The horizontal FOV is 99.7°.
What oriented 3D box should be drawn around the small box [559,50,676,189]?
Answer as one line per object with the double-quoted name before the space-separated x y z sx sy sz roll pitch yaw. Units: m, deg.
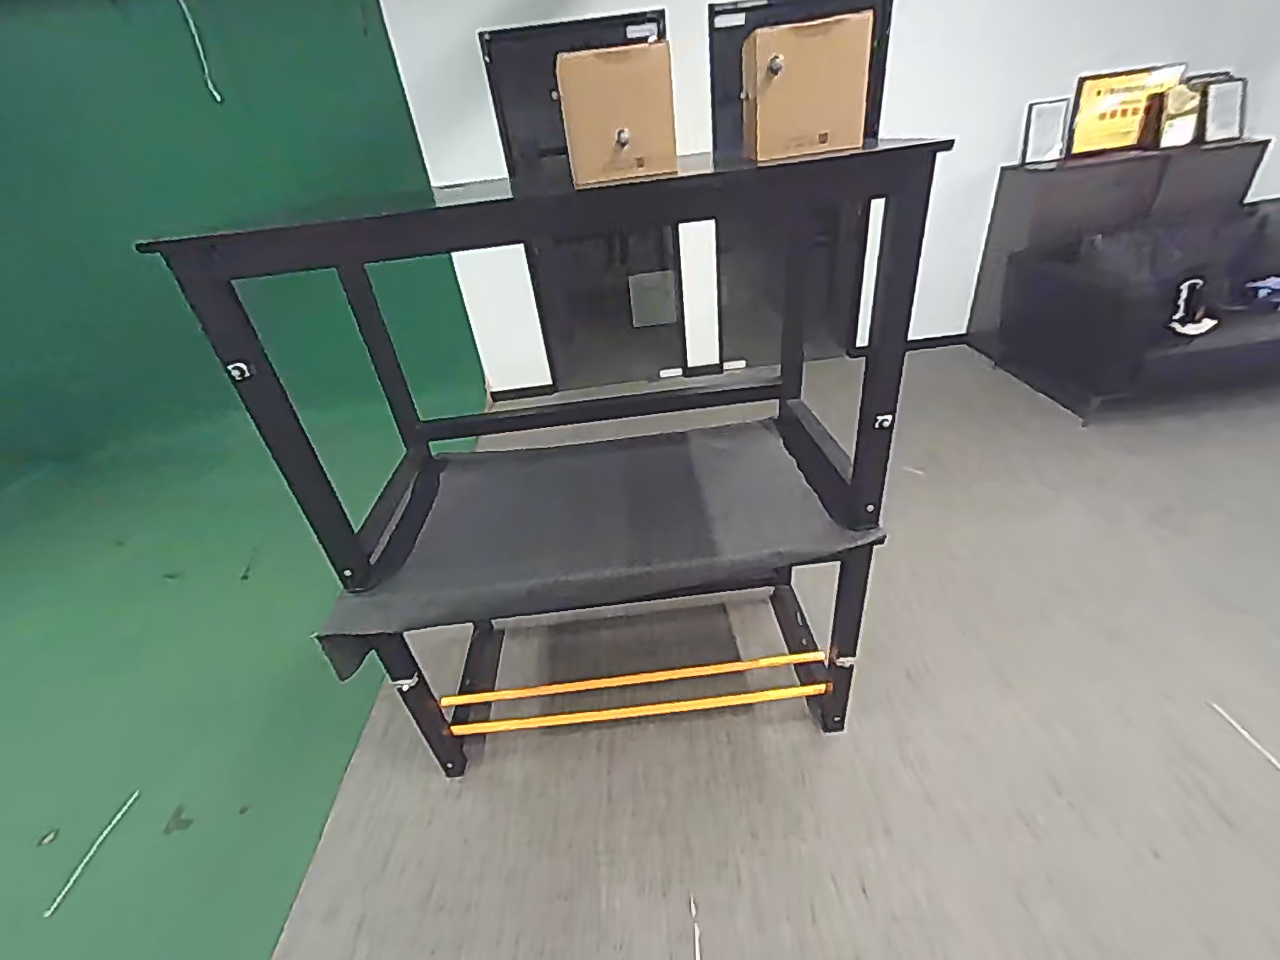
"small box" -0.039 -0.592 0.905 0.168 0.176 0.179 -10 32 -3
